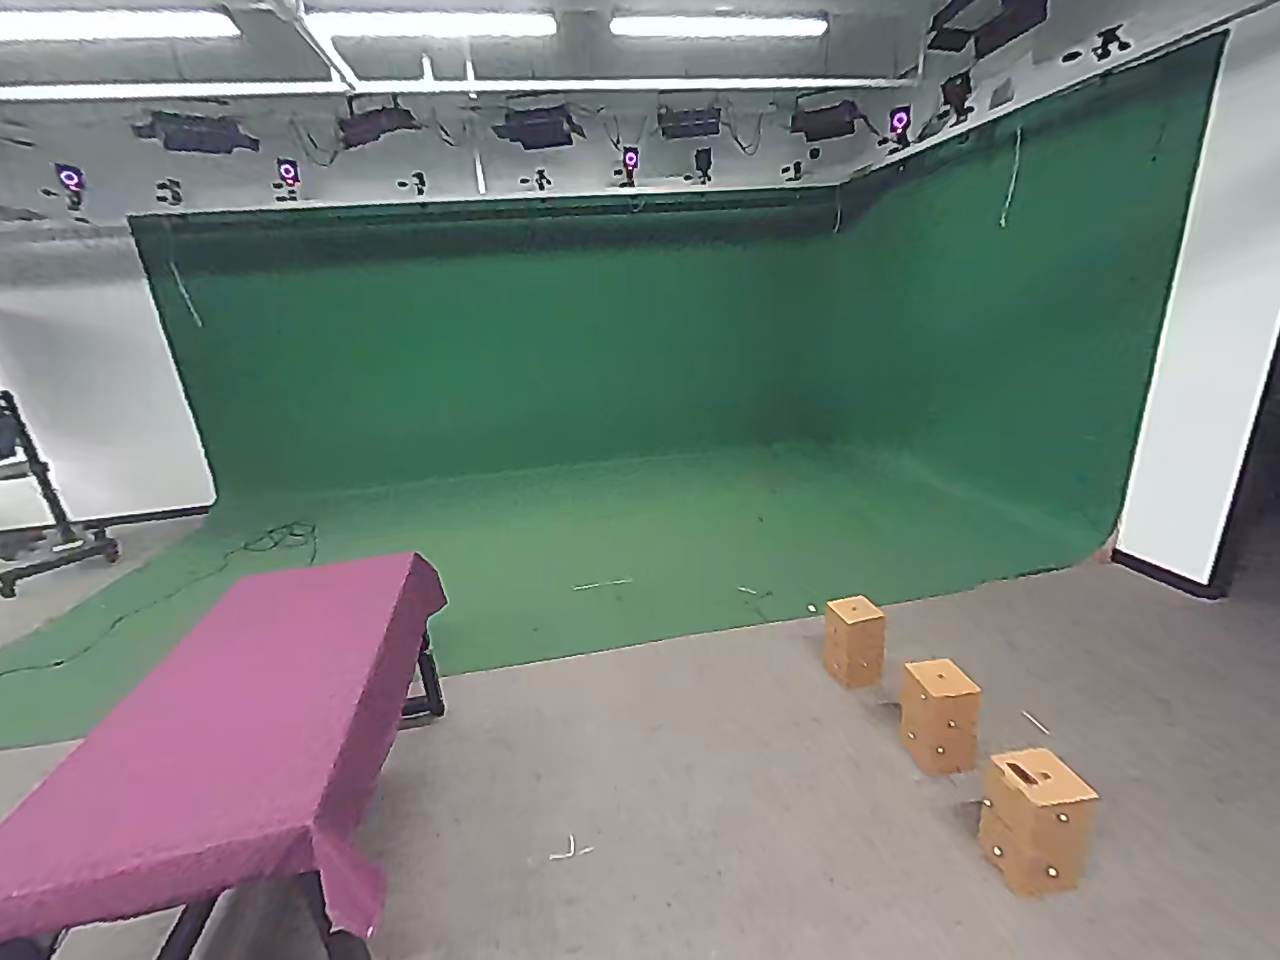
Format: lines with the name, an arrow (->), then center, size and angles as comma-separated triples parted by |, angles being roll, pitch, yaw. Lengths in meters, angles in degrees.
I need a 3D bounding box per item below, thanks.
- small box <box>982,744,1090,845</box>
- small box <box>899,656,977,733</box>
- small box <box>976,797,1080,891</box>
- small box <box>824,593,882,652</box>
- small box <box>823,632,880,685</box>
small box -> 1.062, 0.854, 1.467 | 0.179, 0.176, 0.168 | -5, 19, -5
small box -> 1.011, 0.730, 1.850 | 0.168, 0.176, 0.179 | -5, 19, -5
small box -> 1.078, 1.010, 1.519 | 0.179, 0.176, 0.168 | -7, 19, -6
small box -> 0.889, 0.599, 2.267 | 0.179, 0.176, 0.168 | -8, 20, -11
small box -> 0.903, 0.755, 2.318 | 0.179, 0.176, 0.168 | -7, 19, -10
